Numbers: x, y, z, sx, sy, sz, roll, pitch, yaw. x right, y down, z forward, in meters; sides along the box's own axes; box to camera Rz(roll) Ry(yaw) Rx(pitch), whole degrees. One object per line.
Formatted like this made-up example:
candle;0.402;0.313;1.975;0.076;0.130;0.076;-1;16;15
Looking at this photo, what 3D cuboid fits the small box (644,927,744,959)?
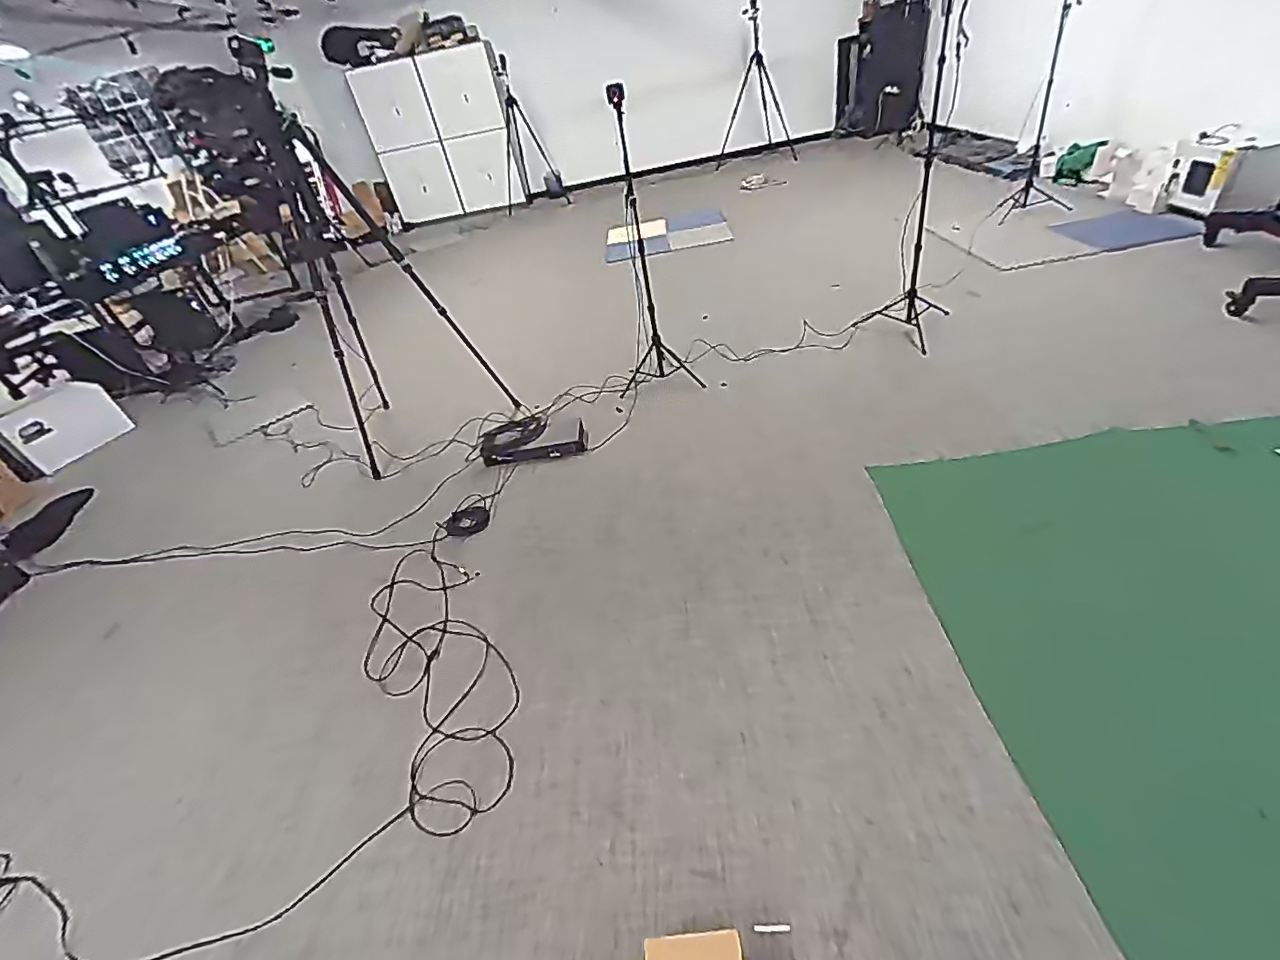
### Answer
small box;0.107;0.924;0.963;0.179;0.176;0.168;-9;39;4
